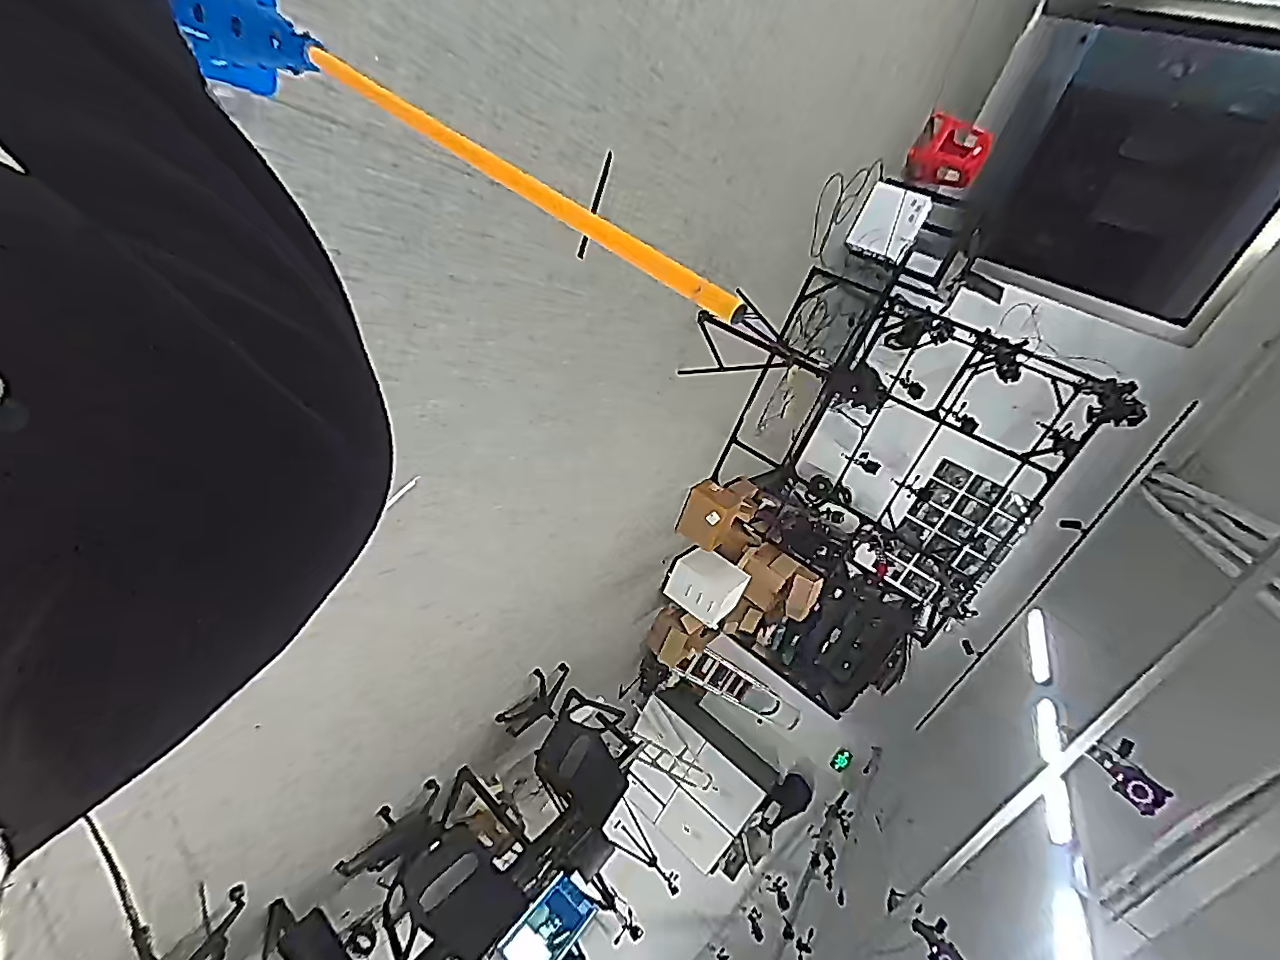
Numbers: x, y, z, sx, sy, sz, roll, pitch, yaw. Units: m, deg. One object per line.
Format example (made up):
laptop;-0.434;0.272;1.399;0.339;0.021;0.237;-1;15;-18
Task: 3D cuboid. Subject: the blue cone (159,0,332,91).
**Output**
blue cone;-0.641;-0.760;0.922;0.193;0.380;0.192;-21;137;-53
